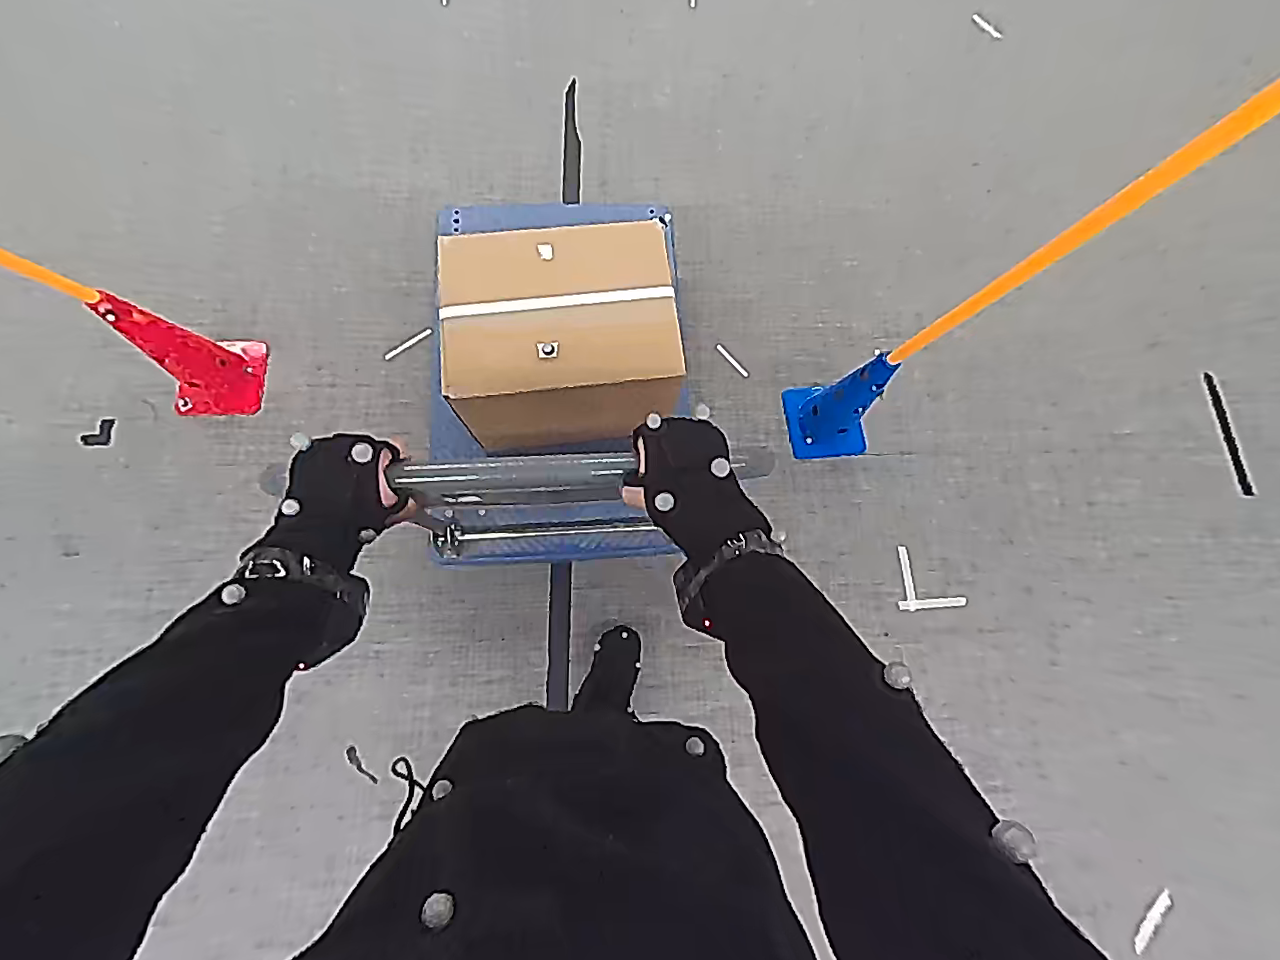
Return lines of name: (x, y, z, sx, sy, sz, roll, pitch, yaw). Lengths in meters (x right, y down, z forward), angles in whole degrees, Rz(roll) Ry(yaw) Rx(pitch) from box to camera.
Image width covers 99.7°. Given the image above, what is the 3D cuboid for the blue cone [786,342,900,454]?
blue cone: (0.503, -0.206, 1.275, 0.193, 0.380, 0.192, -4, 75, -5)
